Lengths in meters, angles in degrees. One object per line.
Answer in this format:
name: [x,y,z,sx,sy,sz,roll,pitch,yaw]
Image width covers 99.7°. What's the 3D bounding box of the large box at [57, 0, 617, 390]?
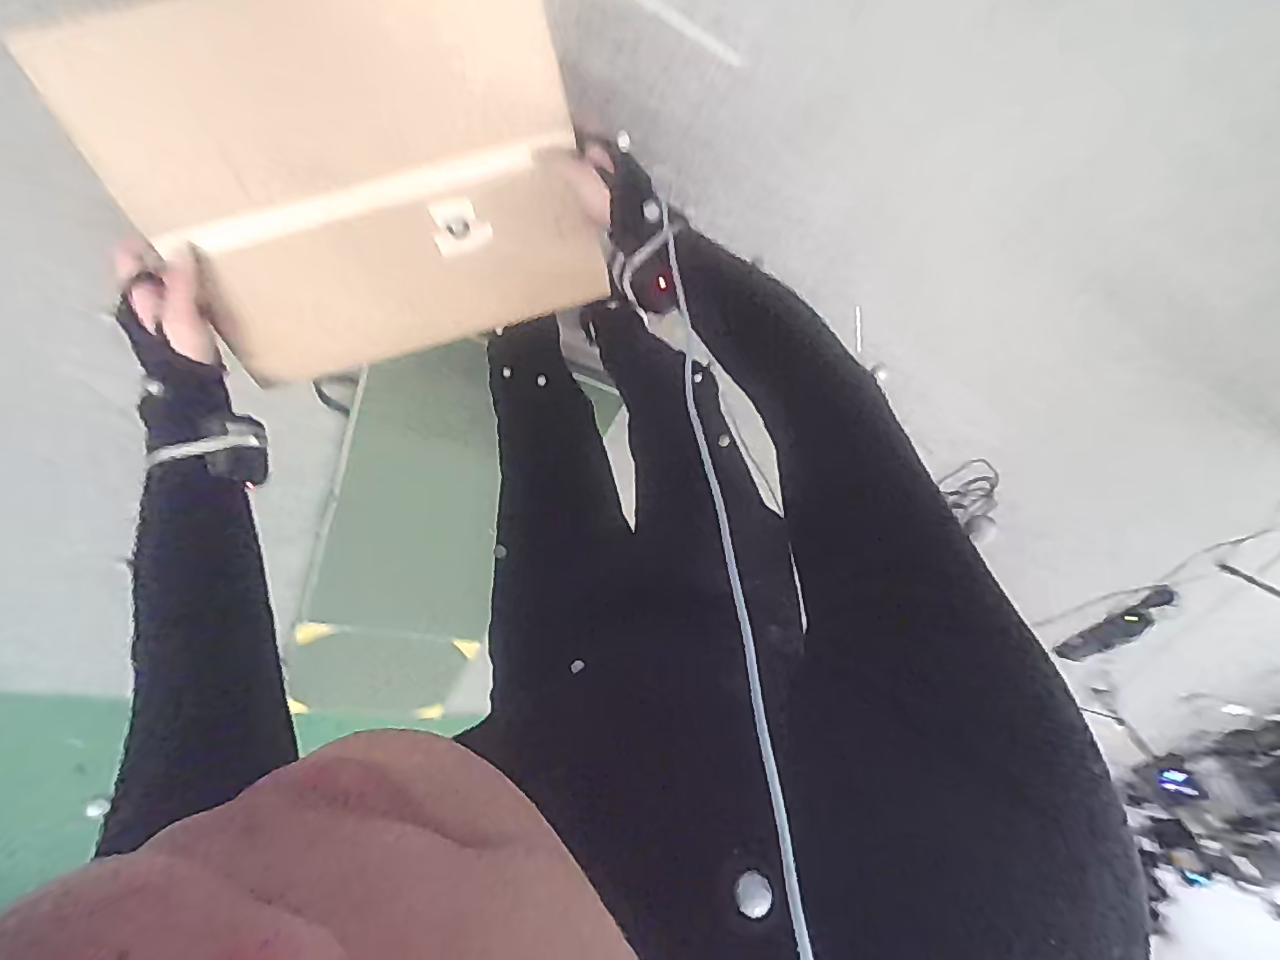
large box: [-0.279,-0.358,0.641,0.408,0.320,0.320,-17,130,-5]
